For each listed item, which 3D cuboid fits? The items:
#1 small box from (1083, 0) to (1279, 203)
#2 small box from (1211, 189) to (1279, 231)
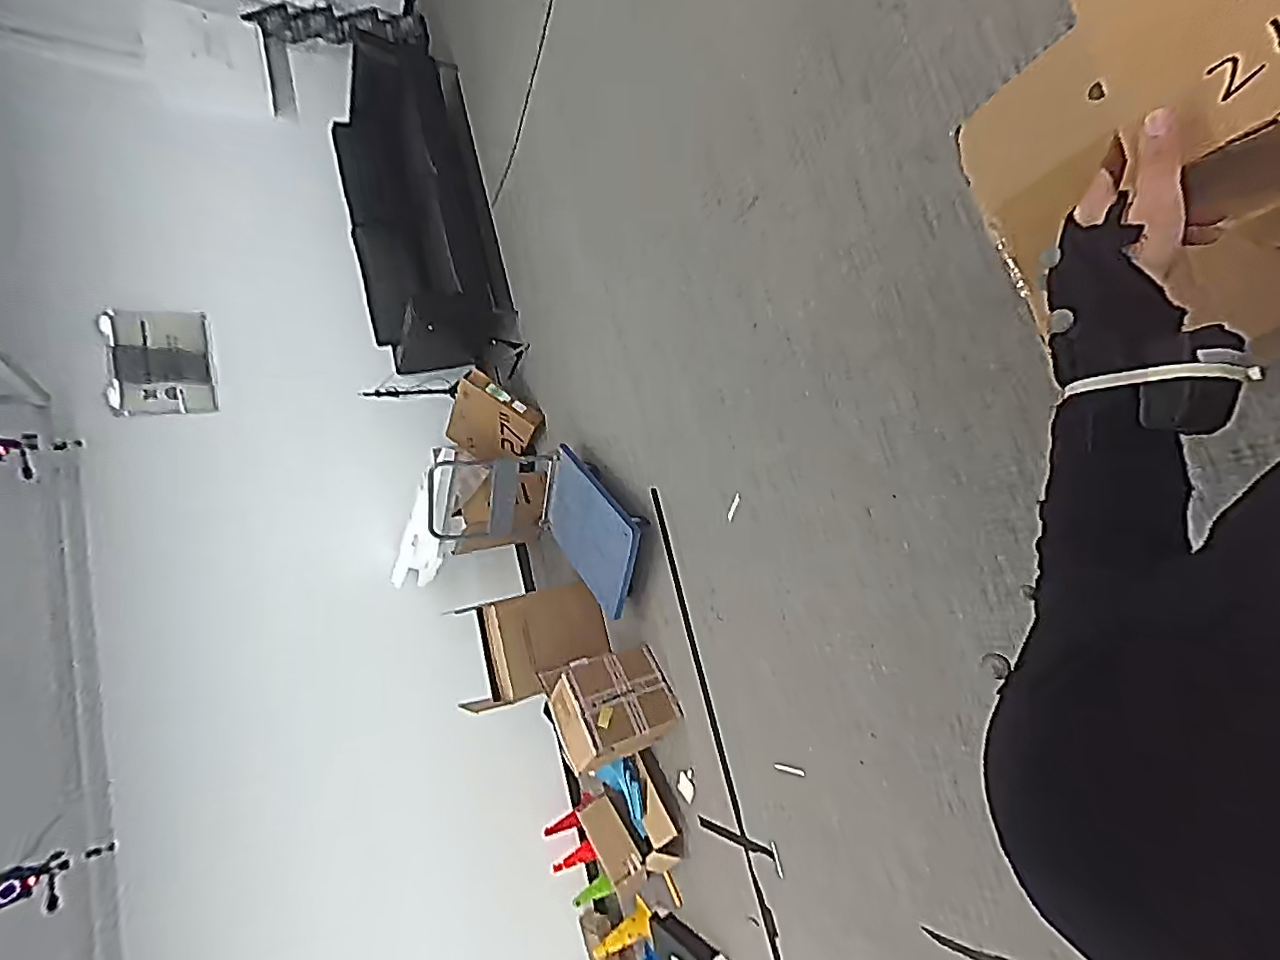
[{"bbox_3d":[0.404,-0.298,0.320,0.168,0.176,0.179,-24,75,59],"label":"small box"},{"bbox_3d":[0.545,-0.311,0.407,0.168,0.176,0.179,-28,72,57],"label":"small box"}]
